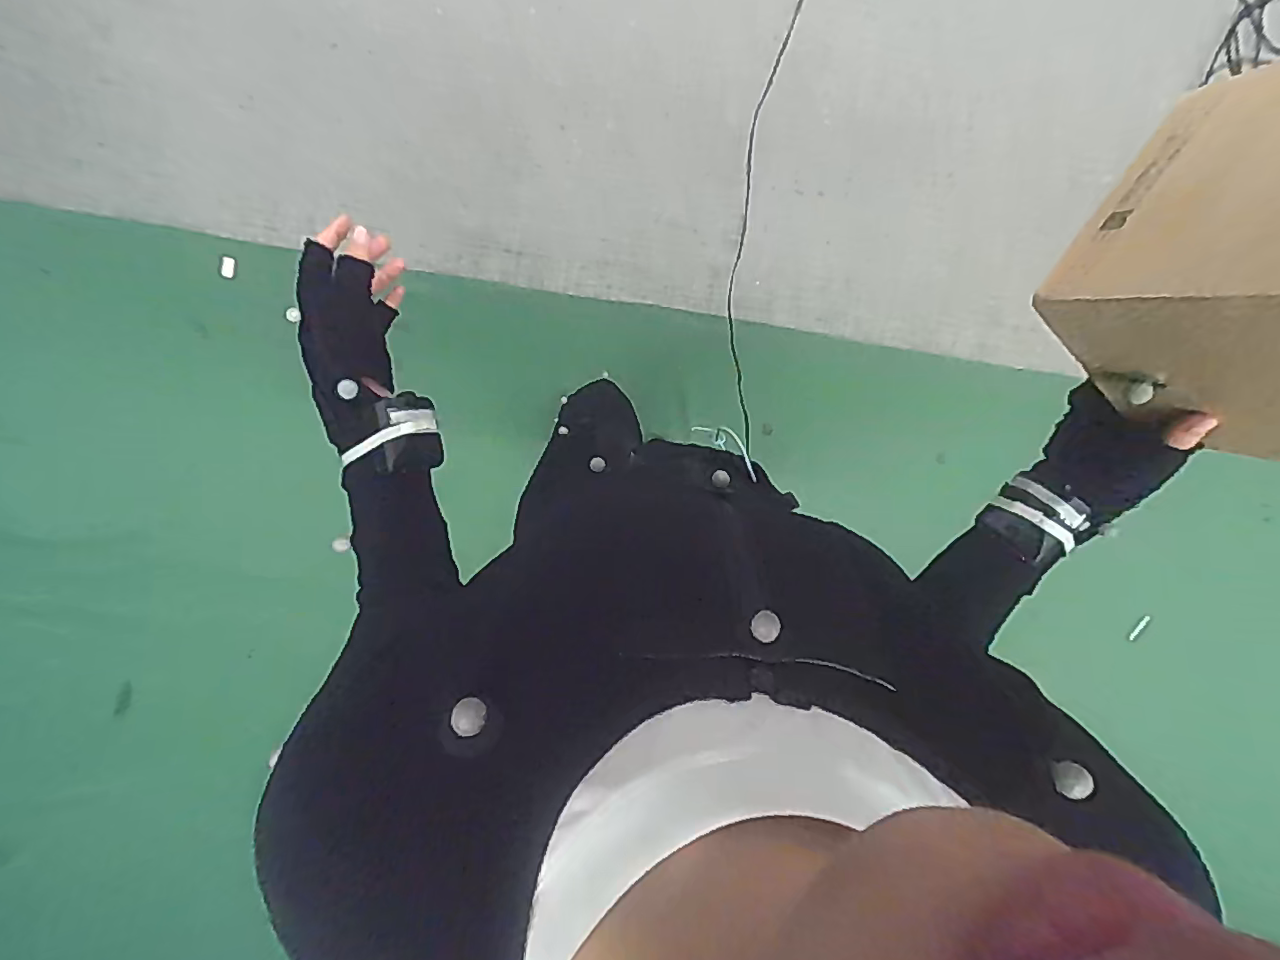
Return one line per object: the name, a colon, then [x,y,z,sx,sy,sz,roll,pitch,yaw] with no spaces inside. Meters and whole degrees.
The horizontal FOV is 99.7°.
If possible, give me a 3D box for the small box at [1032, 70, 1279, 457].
small box: [0.392,-0.123,0.318,0.179,0.176,0.168,33,95,-23]
